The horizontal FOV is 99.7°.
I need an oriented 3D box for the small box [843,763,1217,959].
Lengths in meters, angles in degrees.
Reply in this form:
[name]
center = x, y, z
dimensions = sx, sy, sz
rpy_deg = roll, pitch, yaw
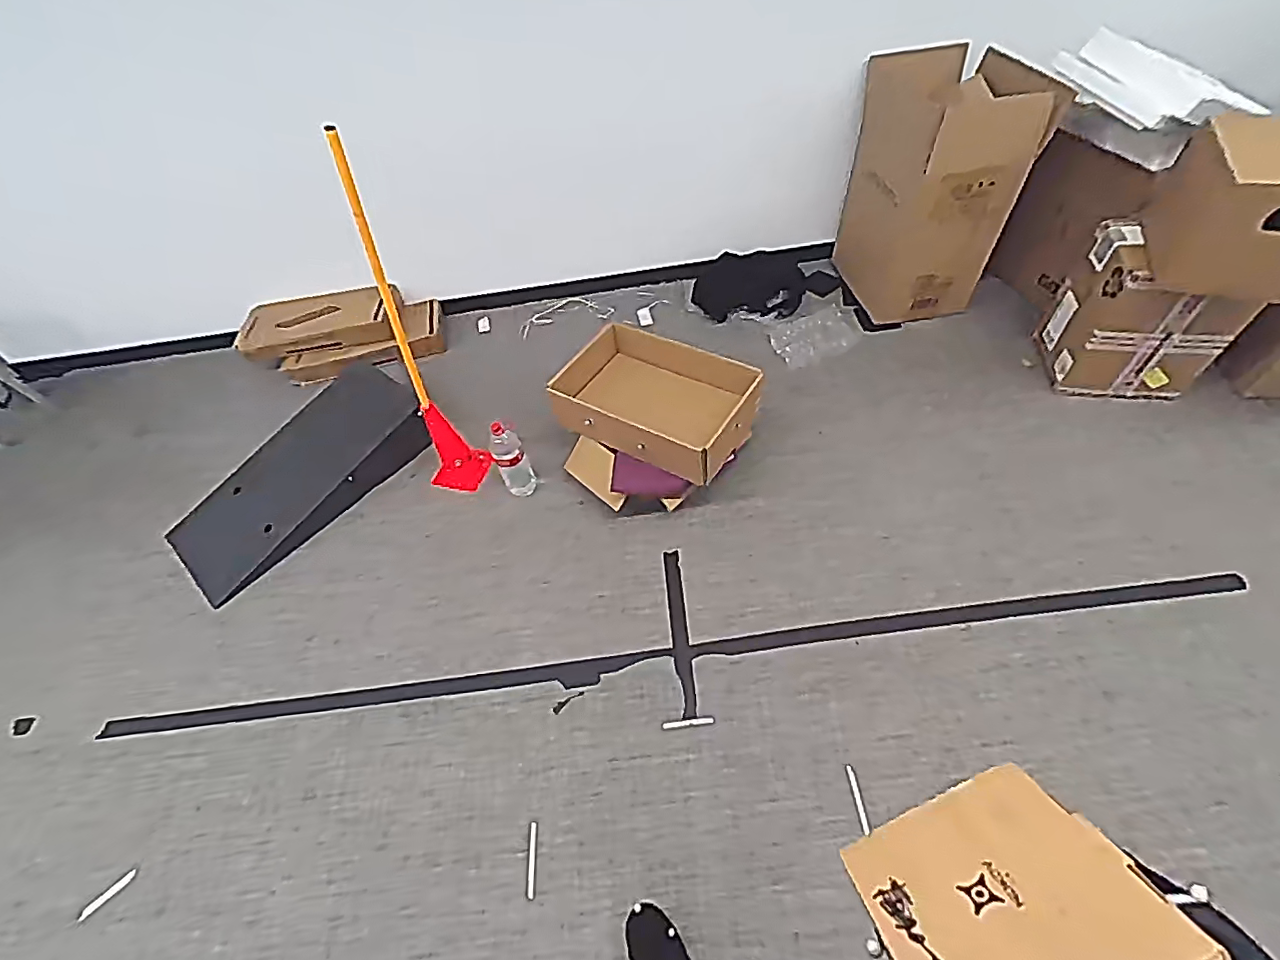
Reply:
[small box]
center = 0.297, 0.374, 0.419
dimensions = 0.179, 0.176, 0.168
rpy_deg = -28, 10, 0
